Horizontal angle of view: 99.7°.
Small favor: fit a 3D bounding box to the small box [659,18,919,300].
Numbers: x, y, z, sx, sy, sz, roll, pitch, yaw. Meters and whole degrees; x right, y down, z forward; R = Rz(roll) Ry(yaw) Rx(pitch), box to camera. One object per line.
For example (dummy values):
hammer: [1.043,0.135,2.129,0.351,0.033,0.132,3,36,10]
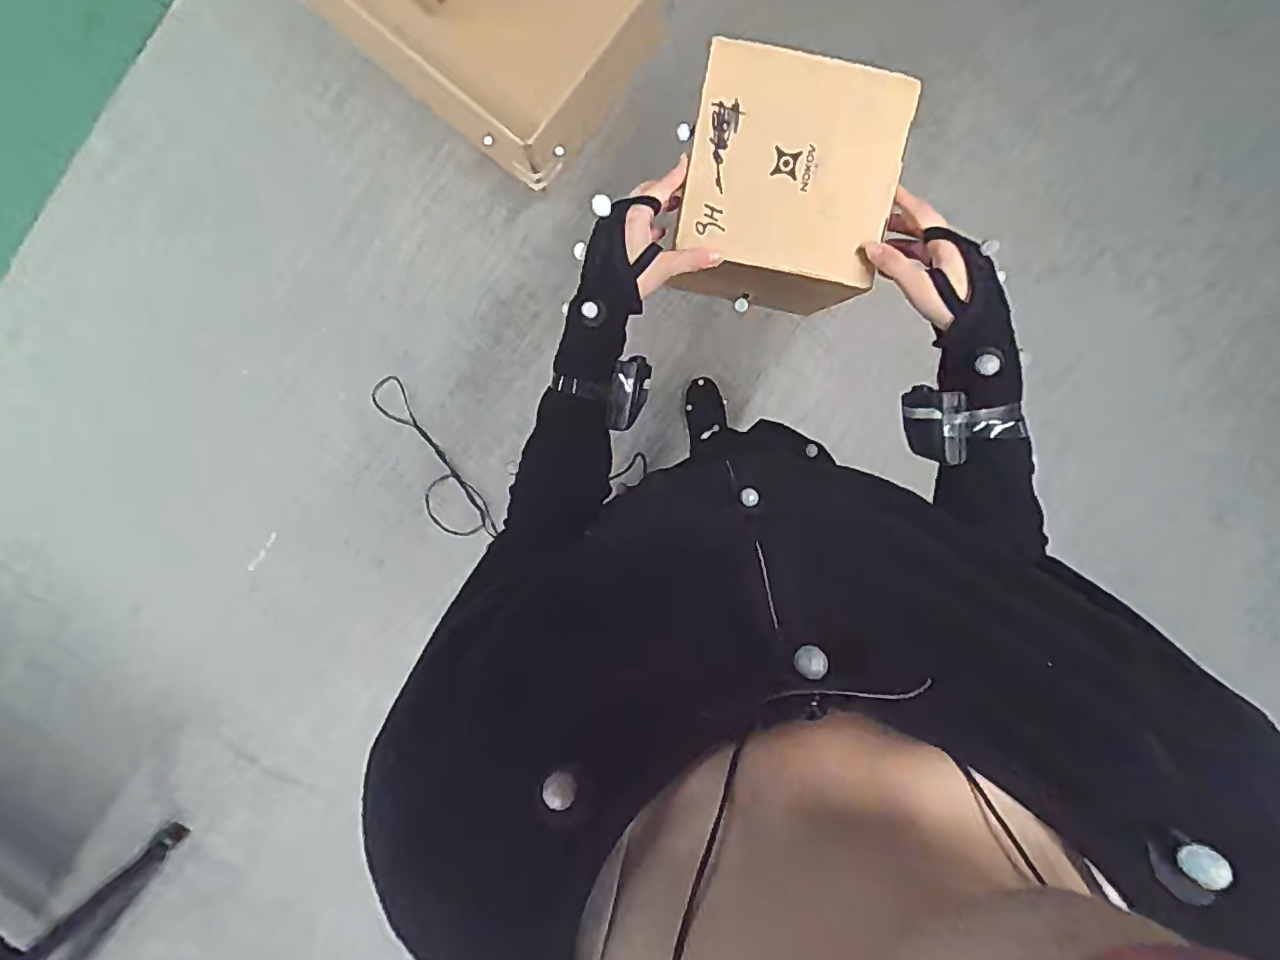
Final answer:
small box: [0.120,-0.277,0.513,0.179,0.176,0.168,9,98,-3]
